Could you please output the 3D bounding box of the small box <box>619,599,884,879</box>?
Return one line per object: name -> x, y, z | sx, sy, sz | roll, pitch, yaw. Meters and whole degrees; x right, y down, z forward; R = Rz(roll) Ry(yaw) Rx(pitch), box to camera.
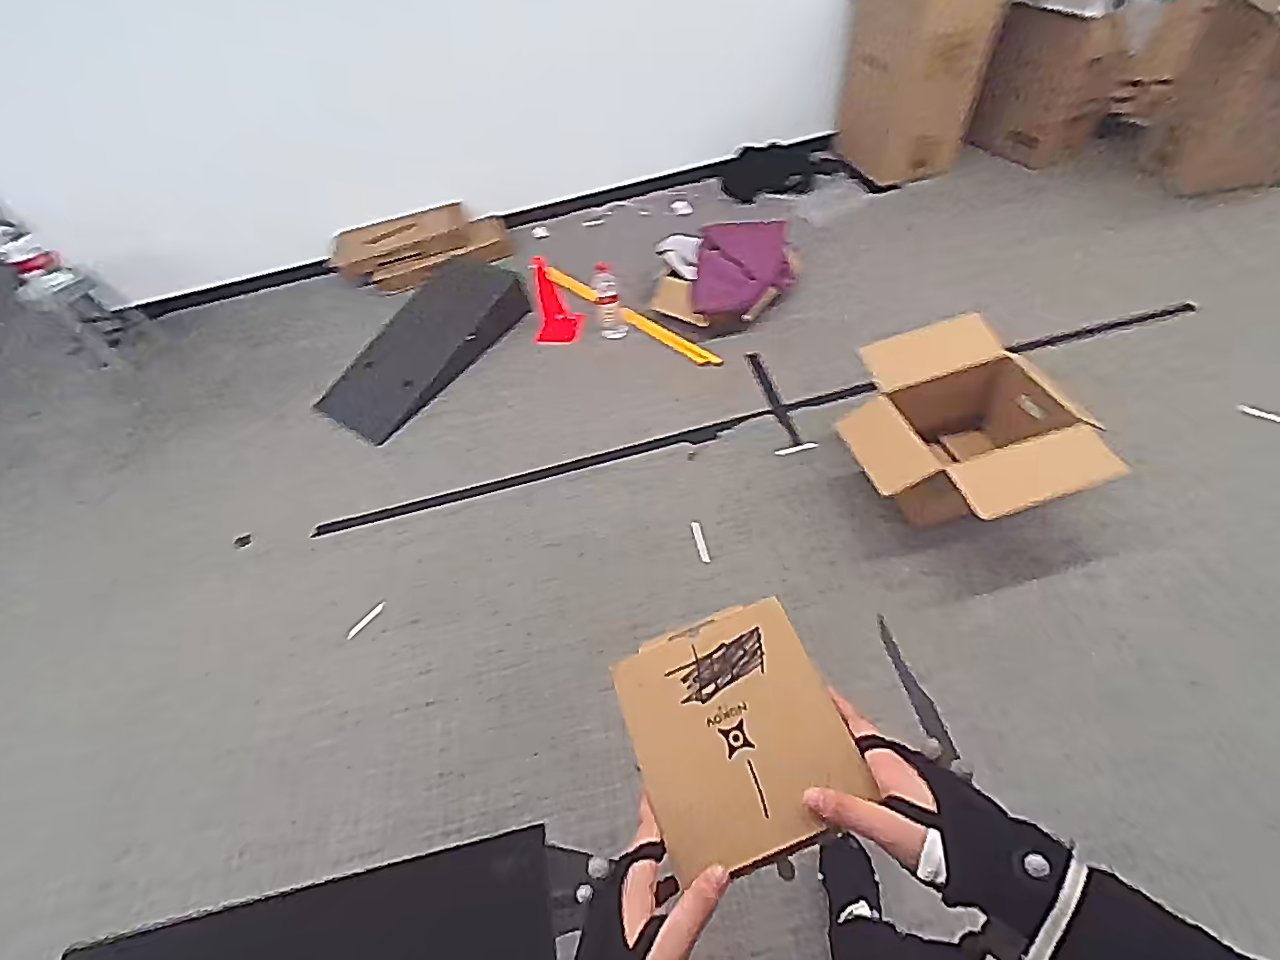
small box -> 0.096, 0.246, 0.508 | 0.168, 0.176, 0.179 | -22, 52, 0
